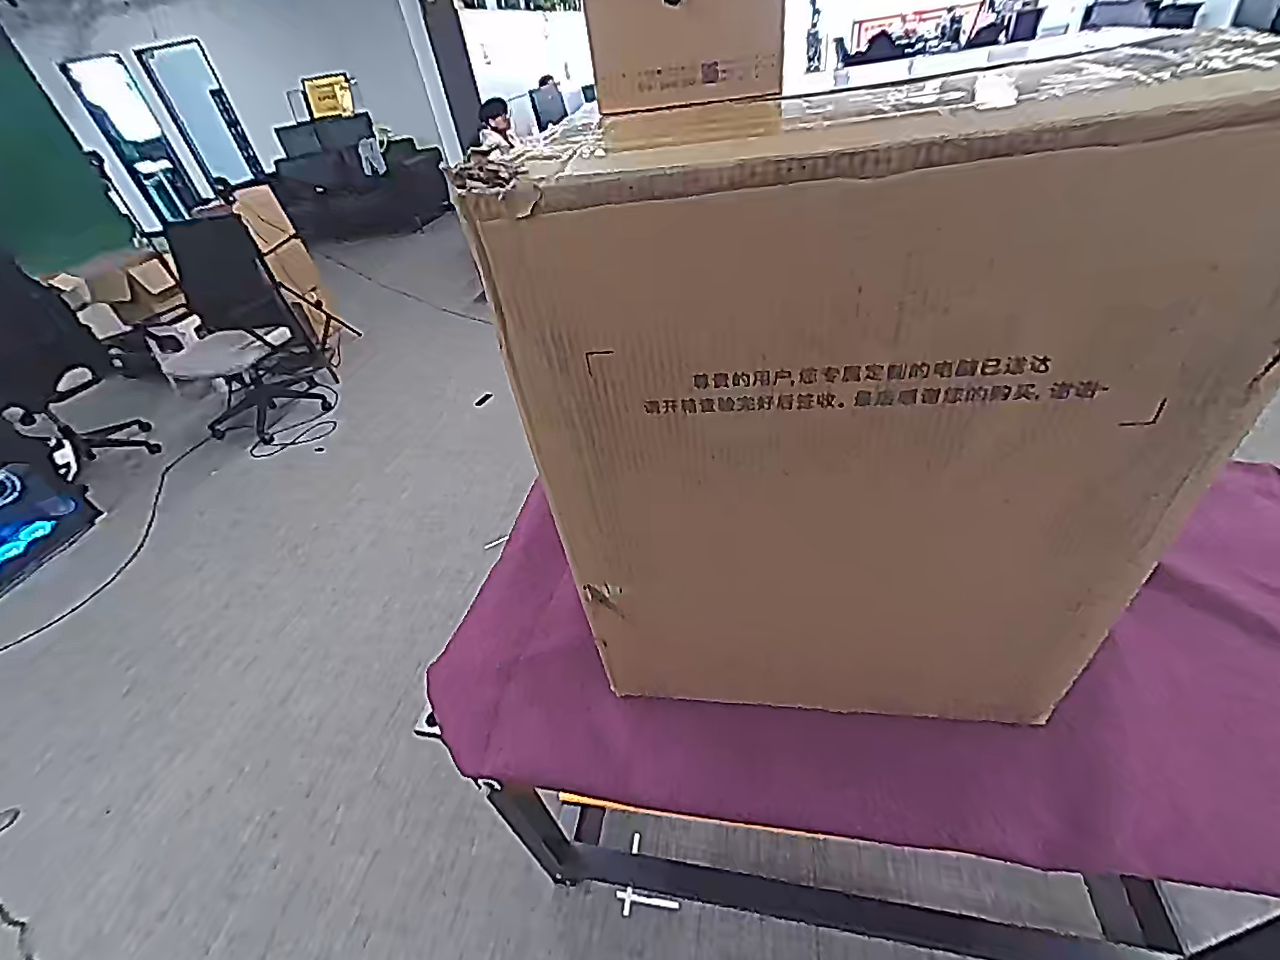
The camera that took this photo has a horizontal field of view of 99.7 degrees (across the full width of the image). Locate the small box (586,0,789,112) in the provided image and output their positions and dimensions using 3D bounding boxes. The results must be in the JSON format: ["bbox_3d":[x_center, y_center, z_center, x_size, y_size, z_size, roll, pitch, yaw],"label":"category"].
[{"bbox_3d":[0.050,-0.447,0.492,0.168,0.176,0.179,3,40,13],"label":"small box"}]
